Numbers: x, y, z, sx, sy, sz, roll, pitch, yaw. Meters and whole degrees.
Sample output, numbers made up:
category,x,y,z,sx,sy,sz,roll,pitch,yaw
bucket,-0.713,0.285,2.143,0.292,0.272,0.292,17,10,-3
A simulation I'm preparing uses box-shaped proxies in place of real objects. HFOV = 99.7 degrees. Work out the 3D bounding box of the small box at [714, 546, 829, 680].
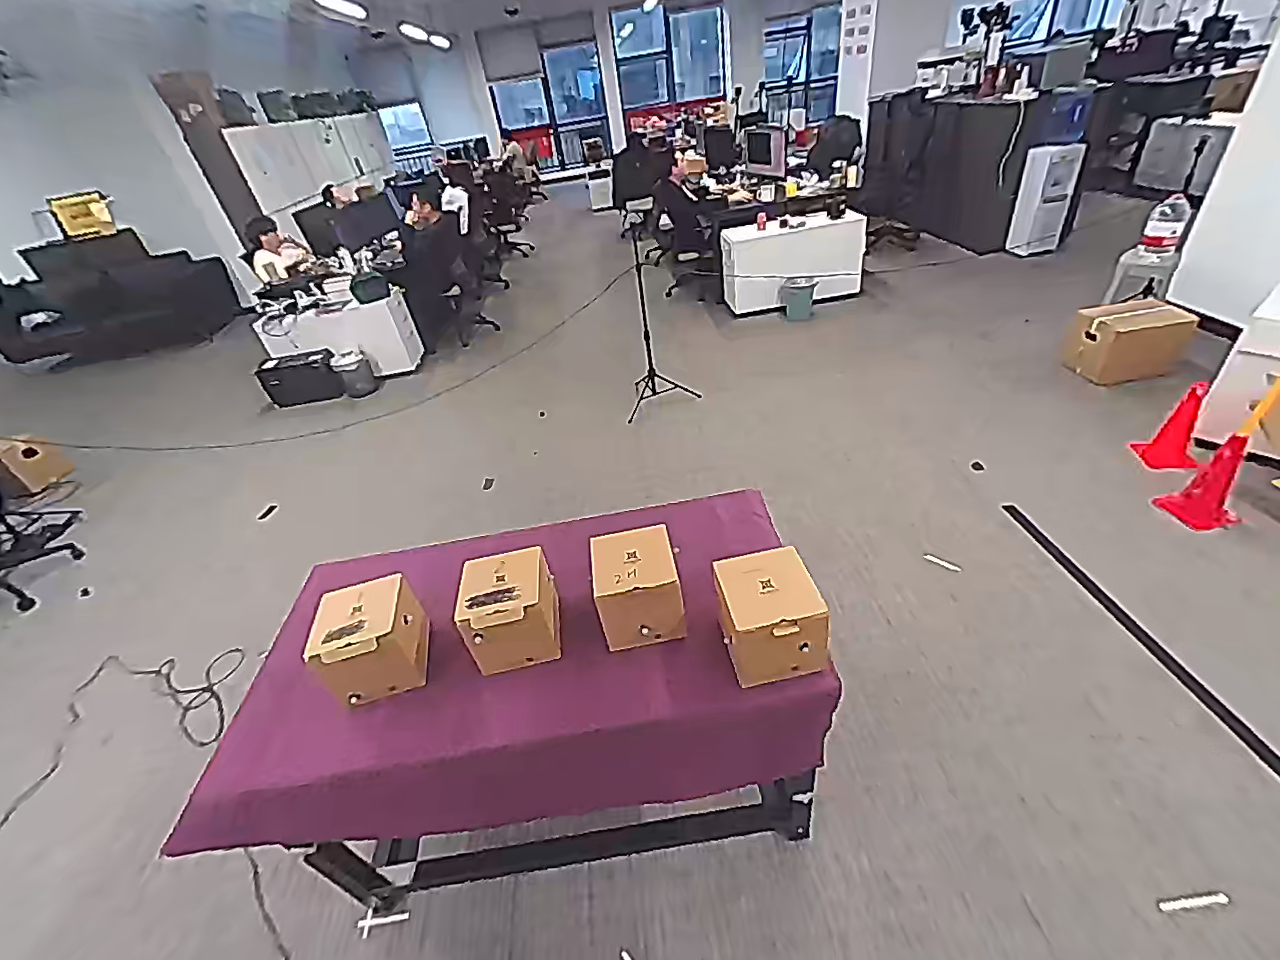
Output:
category,x,y,z,sx,sy,sz,roll,pitch,yaw
small box,0.244,0.256,1.024,0.168,0.176,0.179,-11,35,-1

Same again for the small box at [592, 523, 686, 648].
category,x,y,z,sx,sy,sz,roll,pitch,yaw
small box,-0.004,0.220,1.131,0.168,0.176,0.179,-11,36,0

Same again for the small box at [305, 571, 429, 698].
category,x,y,z,sx,sy,sz,roll,pitch,yaw
small box,-0.552,0.324,1.119,0.168,0.176,0.179,-15,36,-7
